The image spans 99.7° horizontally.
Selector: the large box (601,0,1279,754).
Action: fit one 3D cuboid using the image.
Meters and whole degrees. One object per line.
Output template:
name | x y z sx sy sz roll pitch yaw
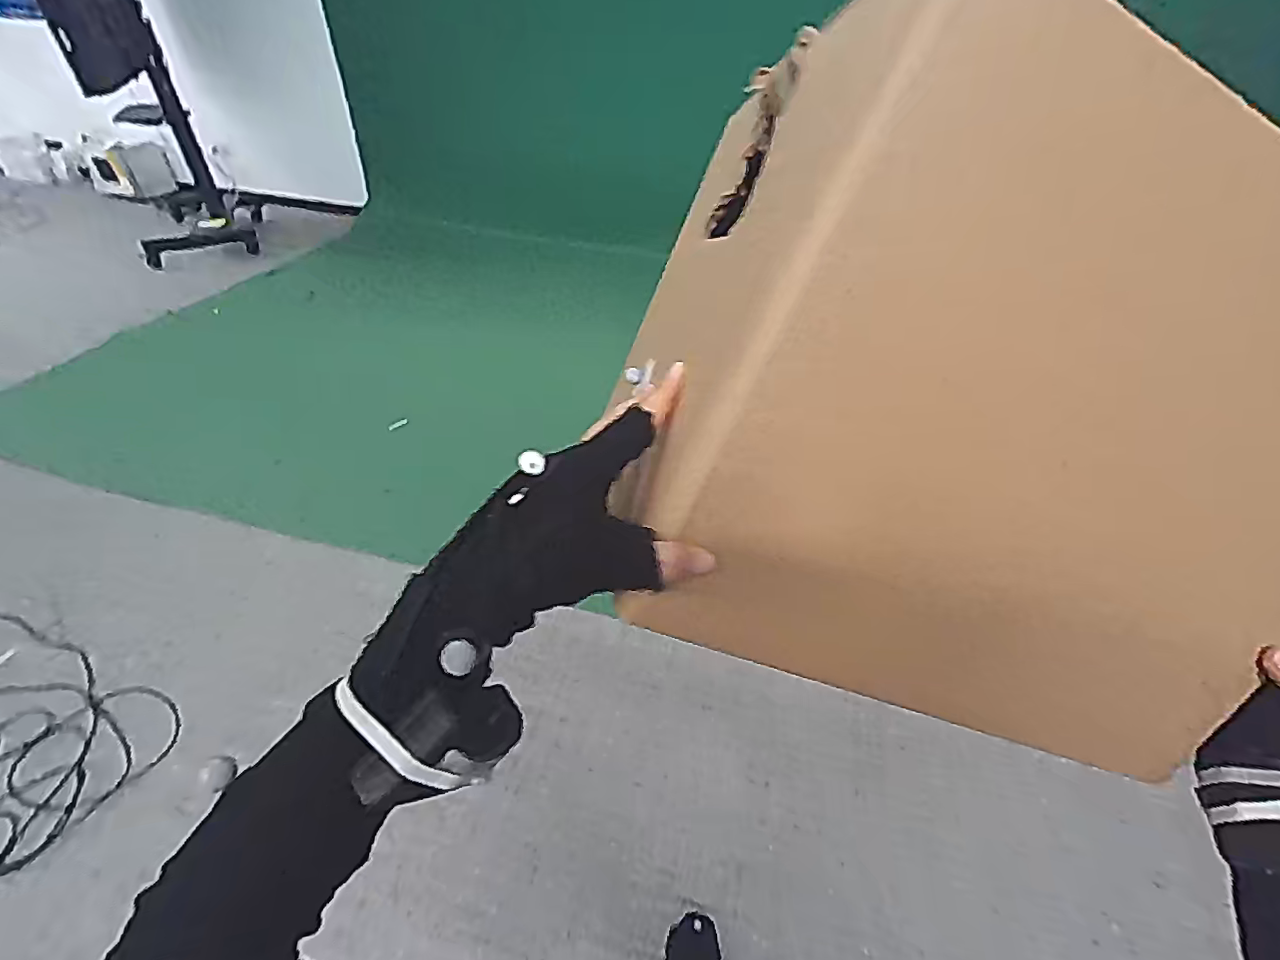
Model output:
large box | 0.213 -0.055 0.421 0.408 0.320 0.320 21 20 -13
